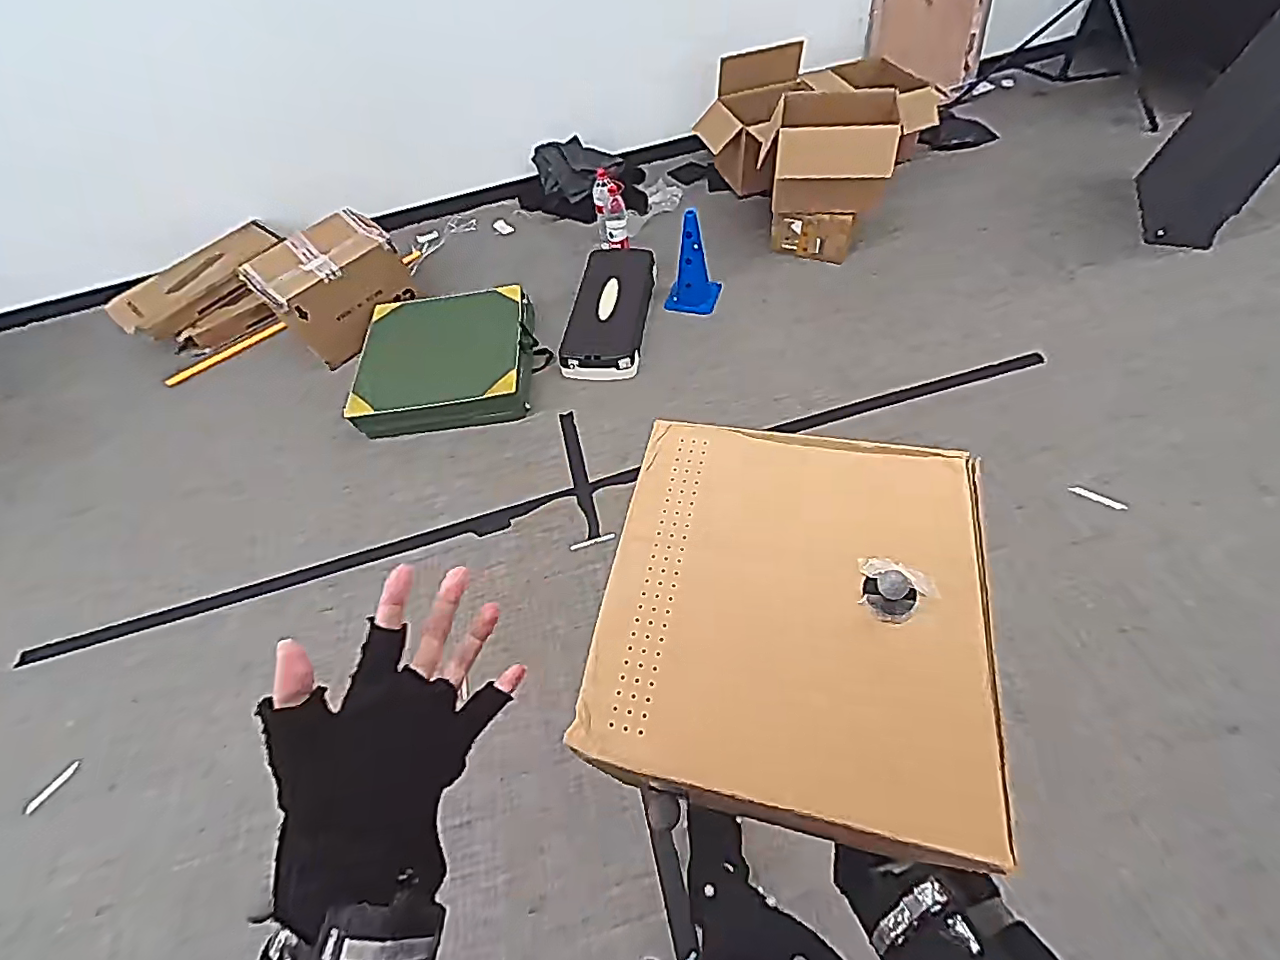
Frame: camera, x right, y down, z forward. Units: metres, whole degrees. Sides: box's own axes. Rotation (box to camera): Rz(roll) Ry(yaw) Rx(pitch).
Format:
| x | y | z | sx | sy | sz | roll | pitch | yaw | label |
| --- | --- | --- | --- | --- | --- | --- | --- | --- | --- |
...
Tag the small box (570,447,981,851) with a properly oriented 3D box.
| x | y | z | sx | sy | sz | roll | pitch | yaw | label |
| --- | --- | --- | --- | --- | --- | --- | --- | --- | --- |
| 0.073 | 0.096 | 0.322 | 0.176 | 0.168 | 0.179 | 7 | 58 | 16 | small box |
